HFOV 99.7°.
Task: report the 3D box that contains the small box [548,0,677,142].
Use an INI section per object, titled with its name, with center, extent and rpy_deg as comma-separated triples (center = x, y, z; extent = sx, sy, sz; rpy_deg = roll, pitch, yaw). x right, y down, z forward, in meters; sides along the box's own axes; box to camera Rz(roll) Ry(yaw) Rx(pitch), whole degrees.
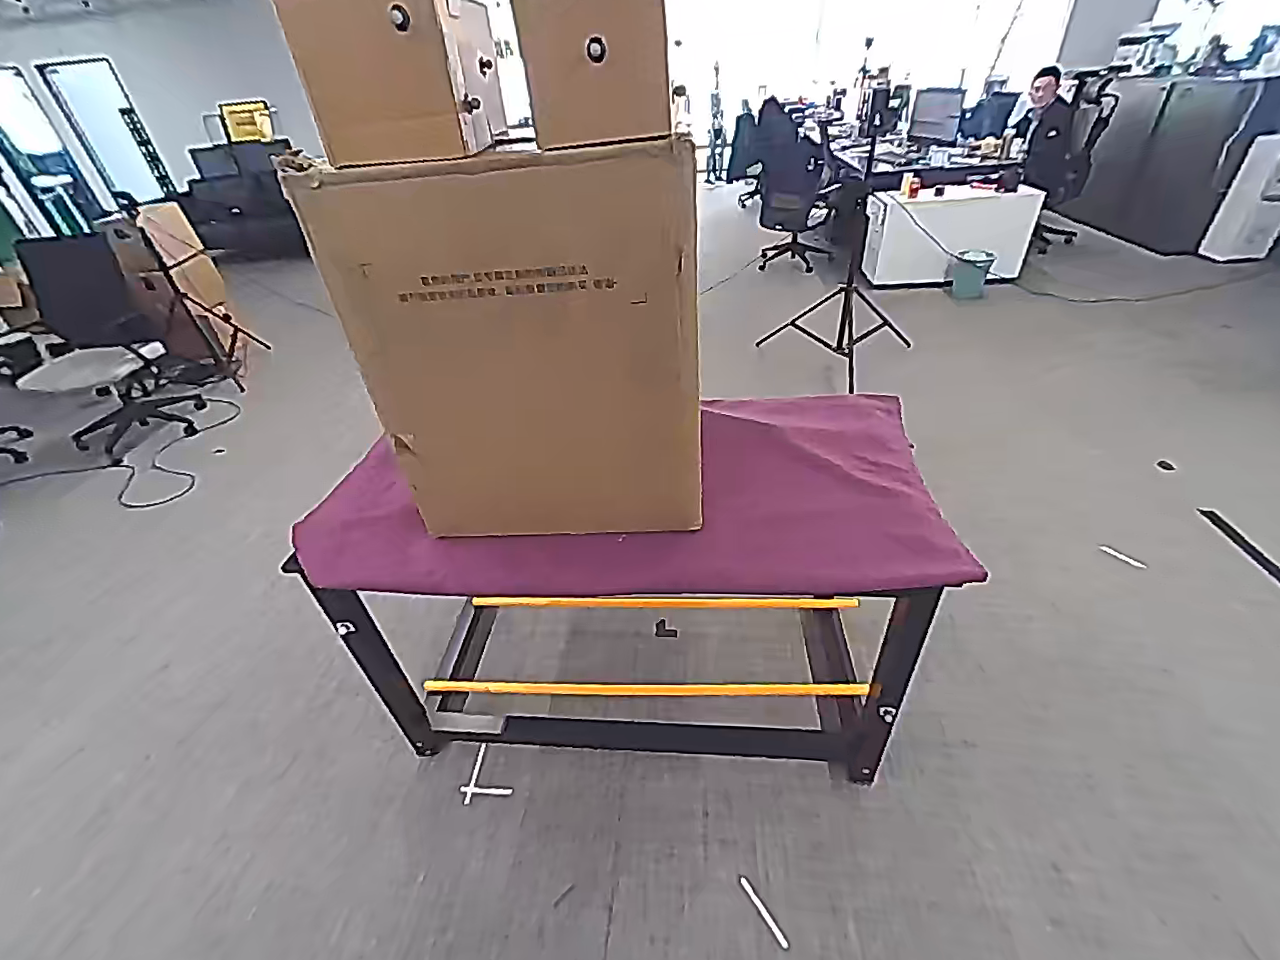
[small box]
center = -0.030, -0.631, 0.837
extent = 0.168, 0.176, 0.179
rpy_deg = -1, 37, 8
